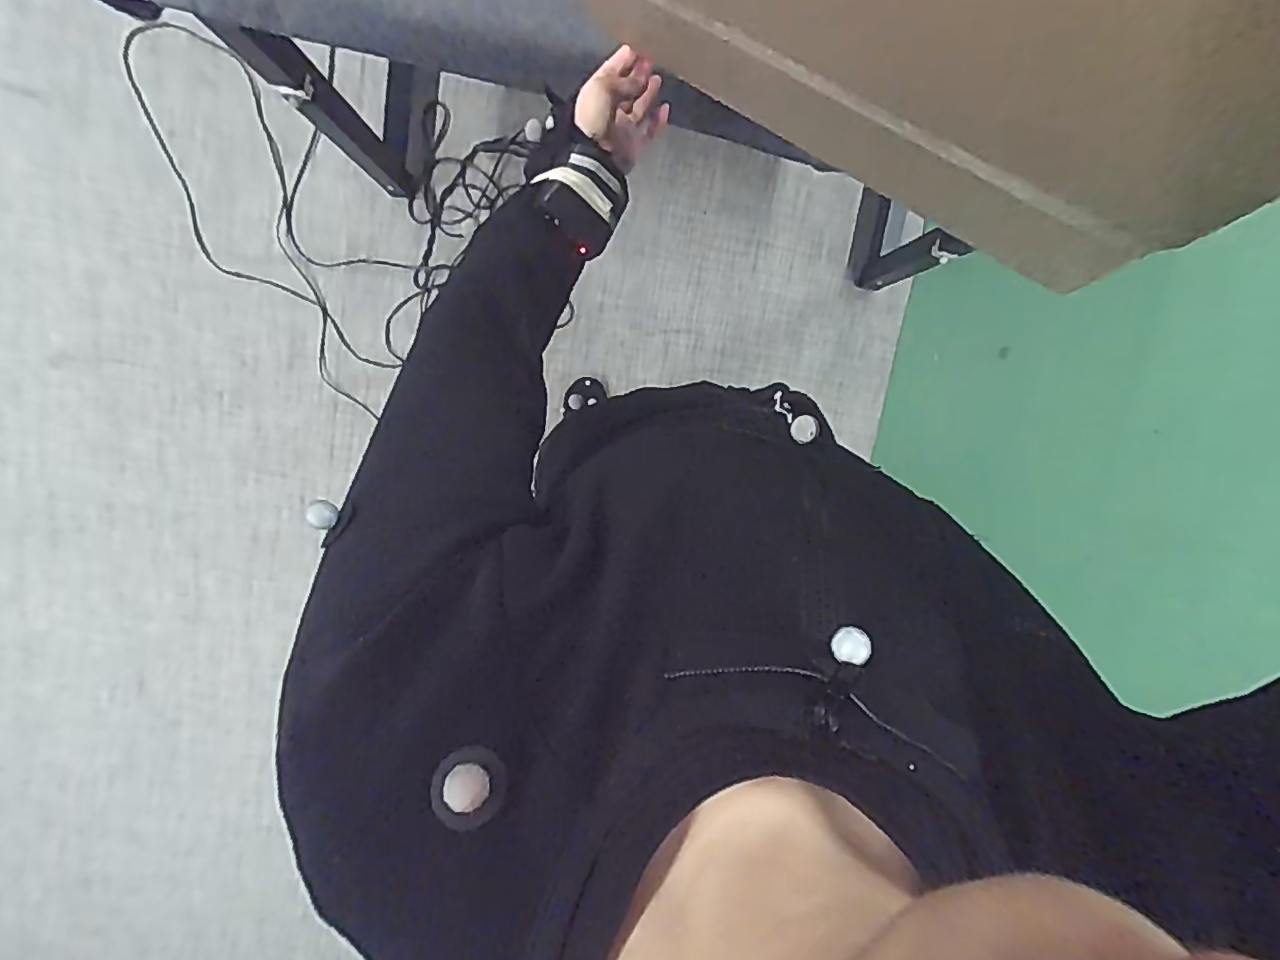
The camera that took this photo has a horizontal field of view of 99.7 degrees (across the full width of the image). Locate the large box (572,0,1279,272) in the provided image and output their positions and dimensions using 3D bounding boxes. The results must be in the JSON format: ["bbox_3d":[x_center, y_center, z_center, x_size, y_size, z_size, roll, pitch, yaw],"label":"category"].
[{"bbox_3d":[0.154,-0.343,0.233,0.408,0.320,0.320,38,113,14],"label":"large box"}]
